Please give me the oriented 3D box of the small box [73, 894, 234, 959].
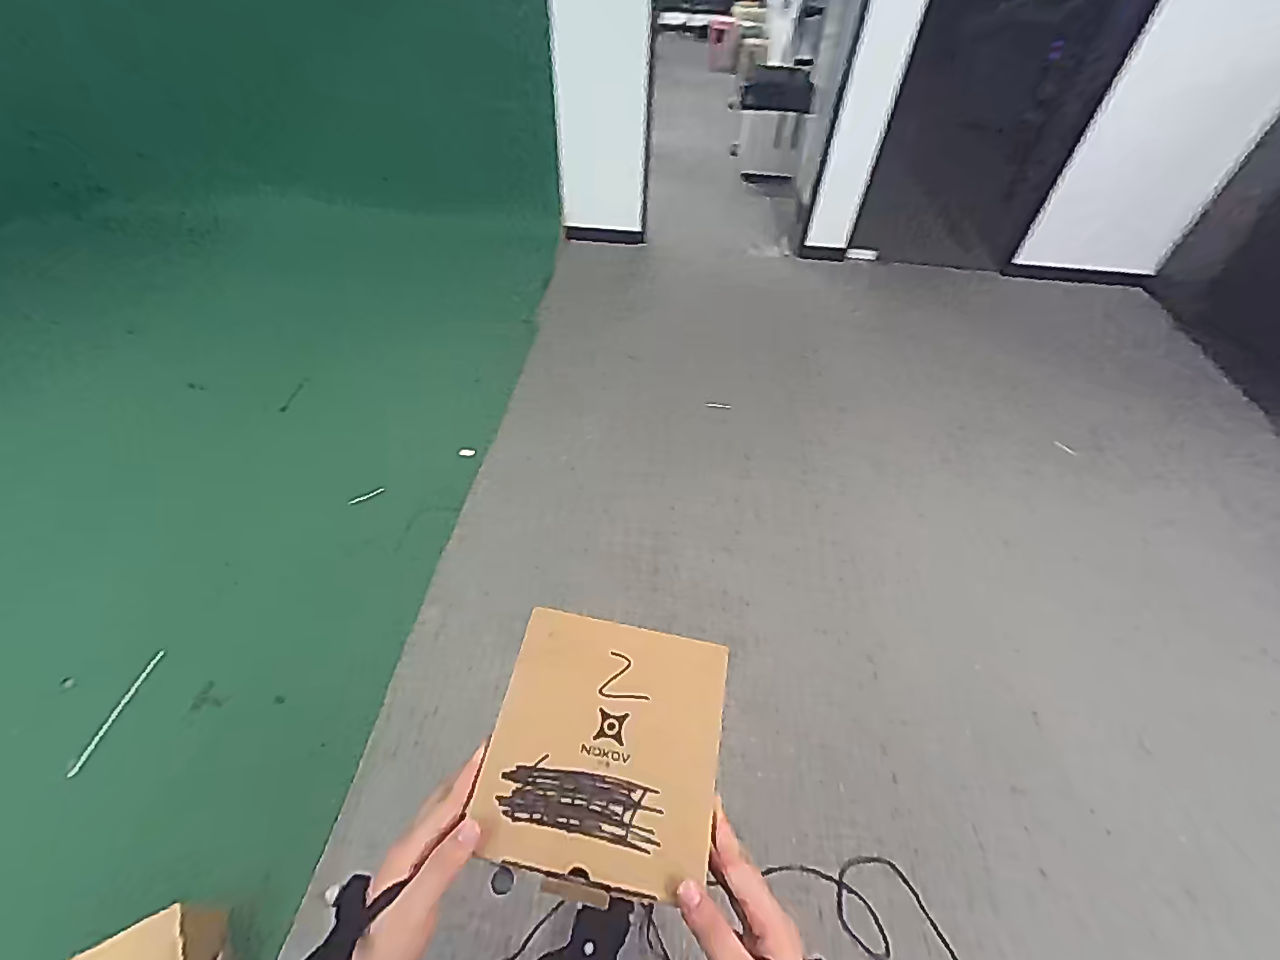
[{"bbox_3d":[-0.896,0.917,1.003,0.179,0.176,0.168,-21,53,-22],"label":"small box"}]
